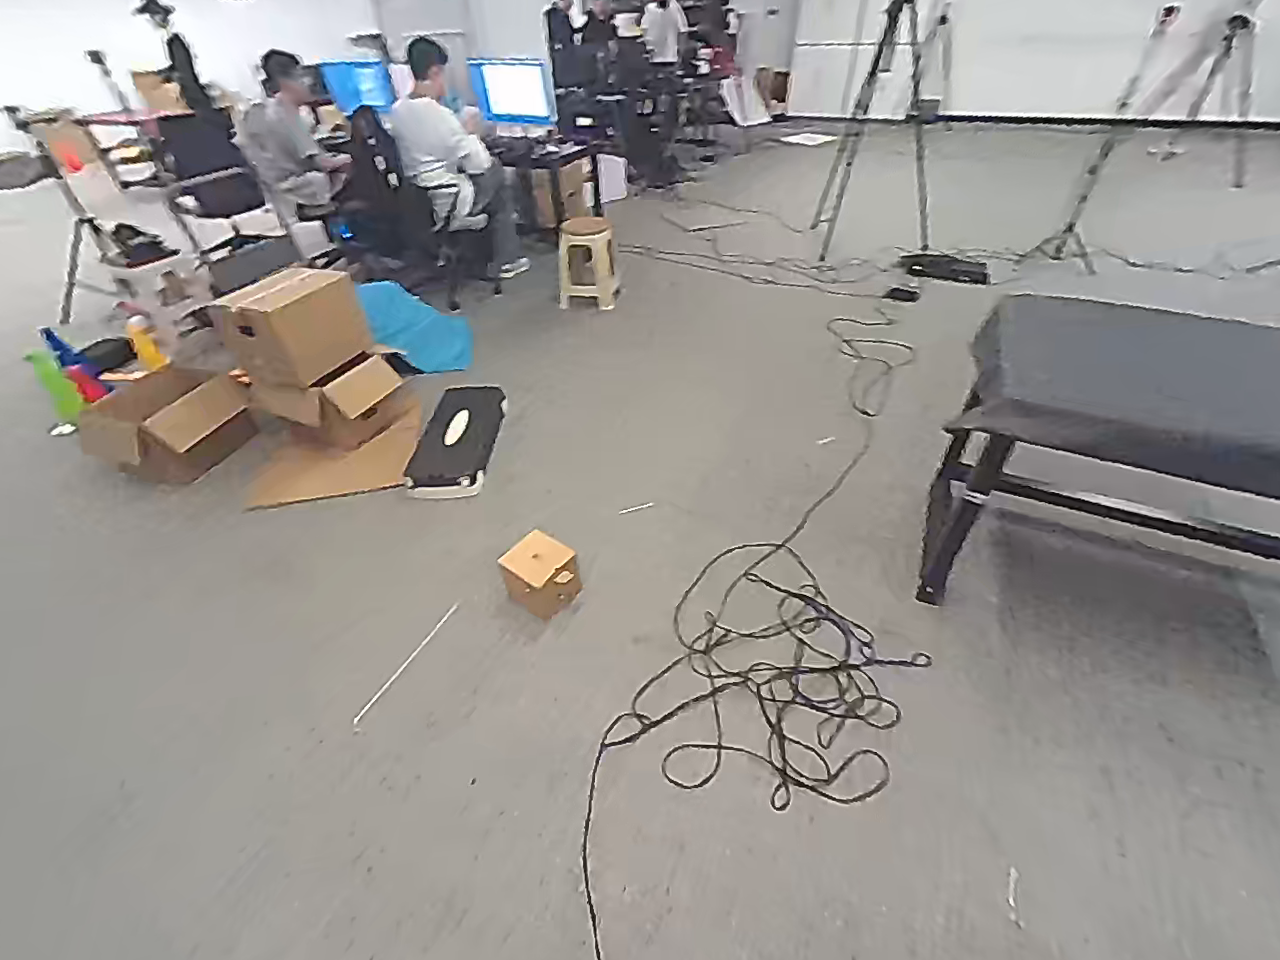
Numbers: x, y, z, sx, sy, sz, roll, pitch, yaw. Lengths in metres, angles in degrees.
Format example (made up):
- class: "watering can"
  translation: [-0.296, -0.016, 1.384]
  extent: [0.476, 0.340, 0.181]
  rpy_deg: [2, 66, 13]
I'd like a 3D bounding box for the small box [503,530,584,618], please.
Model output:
- class: "small box"
  translation: [-0.293, 0.291, 1.665]
  extent: [0.179, 0.176, 0.168]
  rpy_deg: [25, 47, 27]
